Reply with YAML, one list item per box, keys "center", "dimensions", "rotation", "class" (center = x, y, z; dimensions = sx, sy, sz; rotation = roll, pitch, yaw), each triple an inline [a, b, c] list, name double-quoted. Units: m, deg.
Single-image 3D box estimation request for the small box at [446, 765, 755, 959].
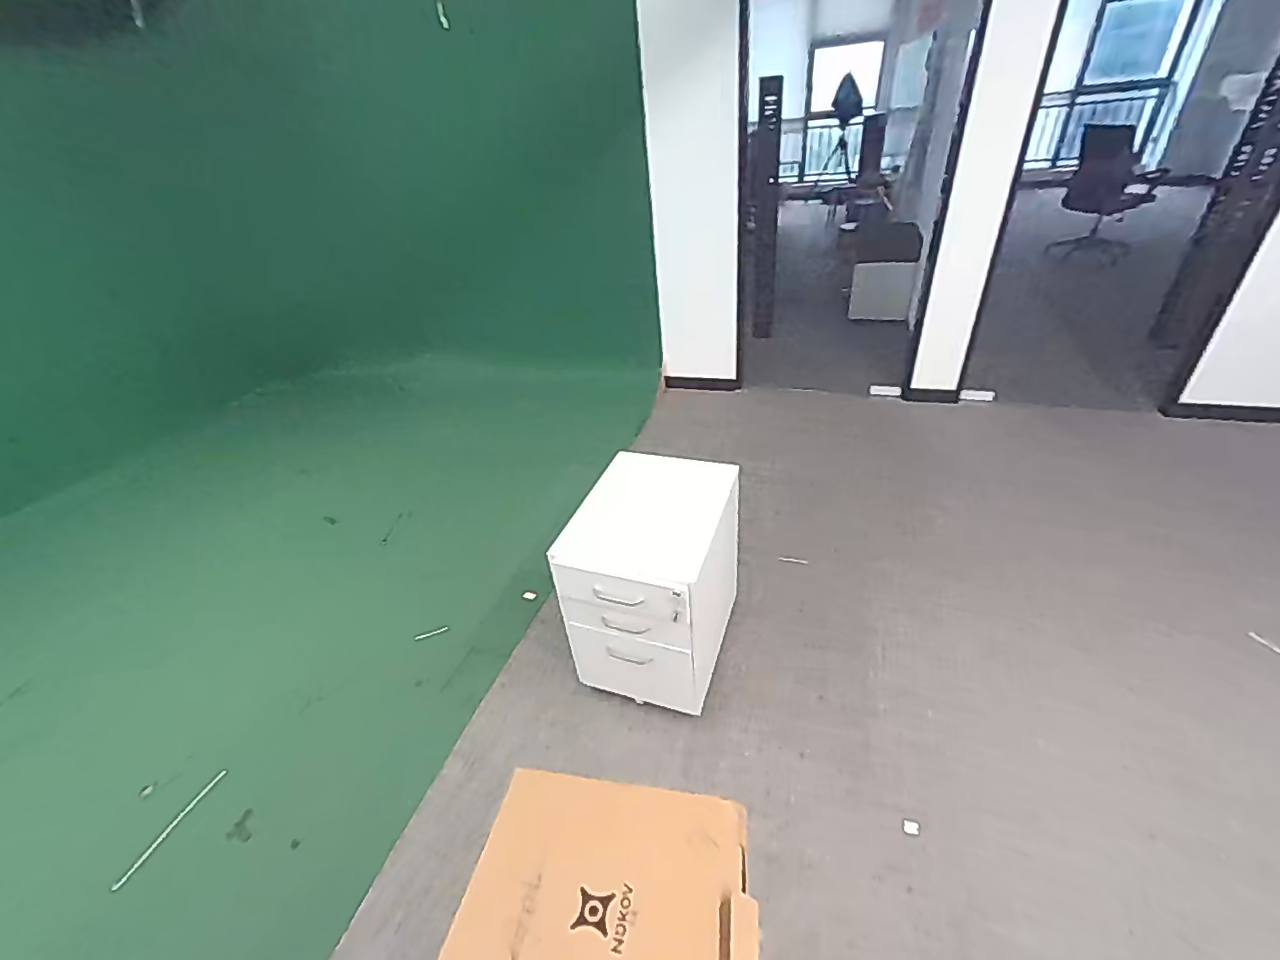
- center: [-0.016, 0.332, 0.367]
  dimensions: [0.179, 0.176, 0.168]
  rotation: [2, 27, 11]
  class: "small box"
